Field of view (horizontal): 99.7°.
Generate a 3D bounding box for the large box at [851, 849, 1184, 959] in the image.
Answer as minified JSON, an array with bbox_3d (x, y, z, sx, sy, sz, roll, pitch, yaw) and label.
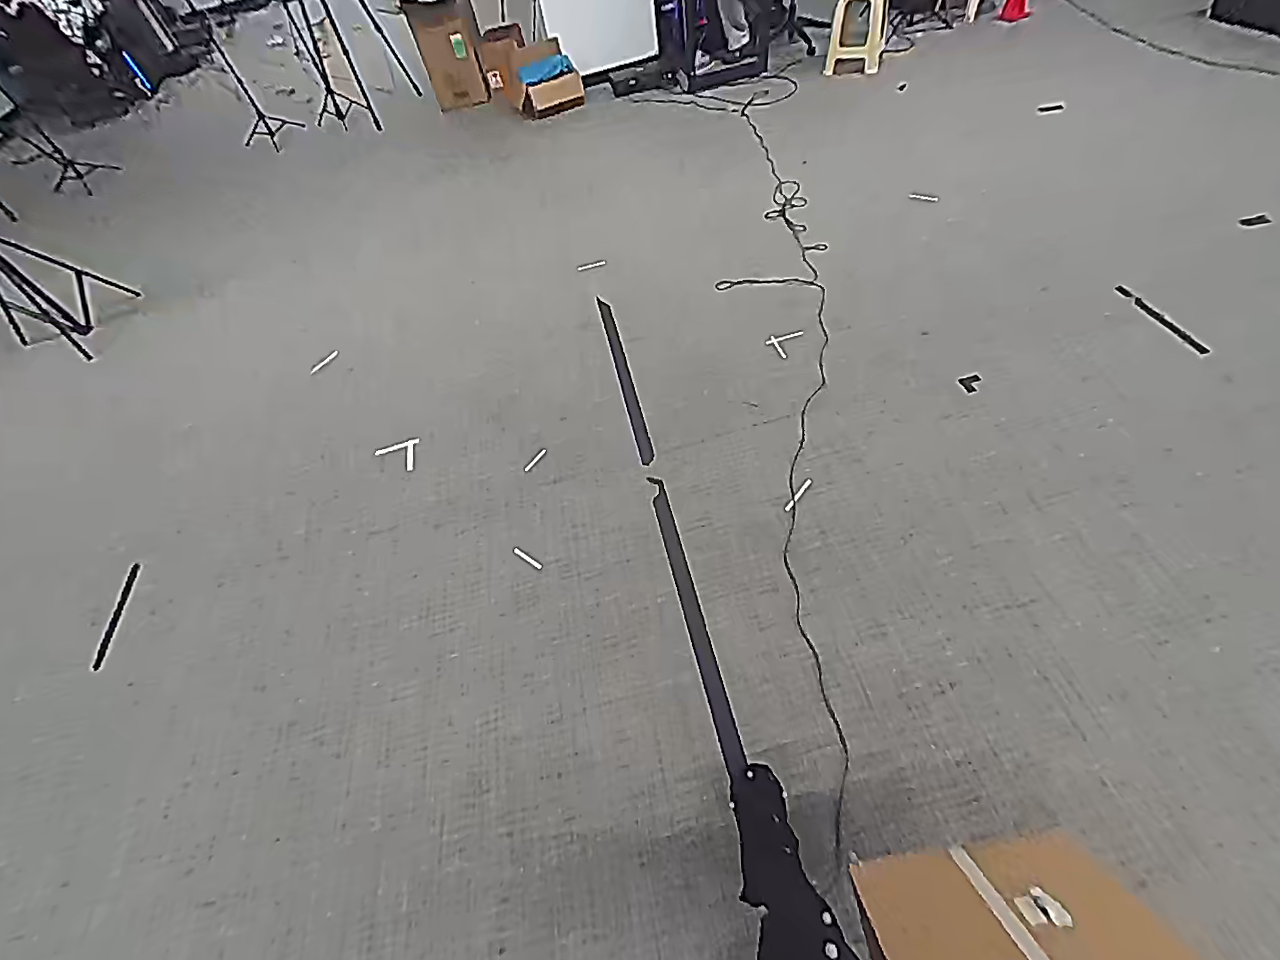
[{"bbox_3d":[0.480,0.704,0.595,0.320,0.408,0.320,-11,84,5],"label":"large box"}]
